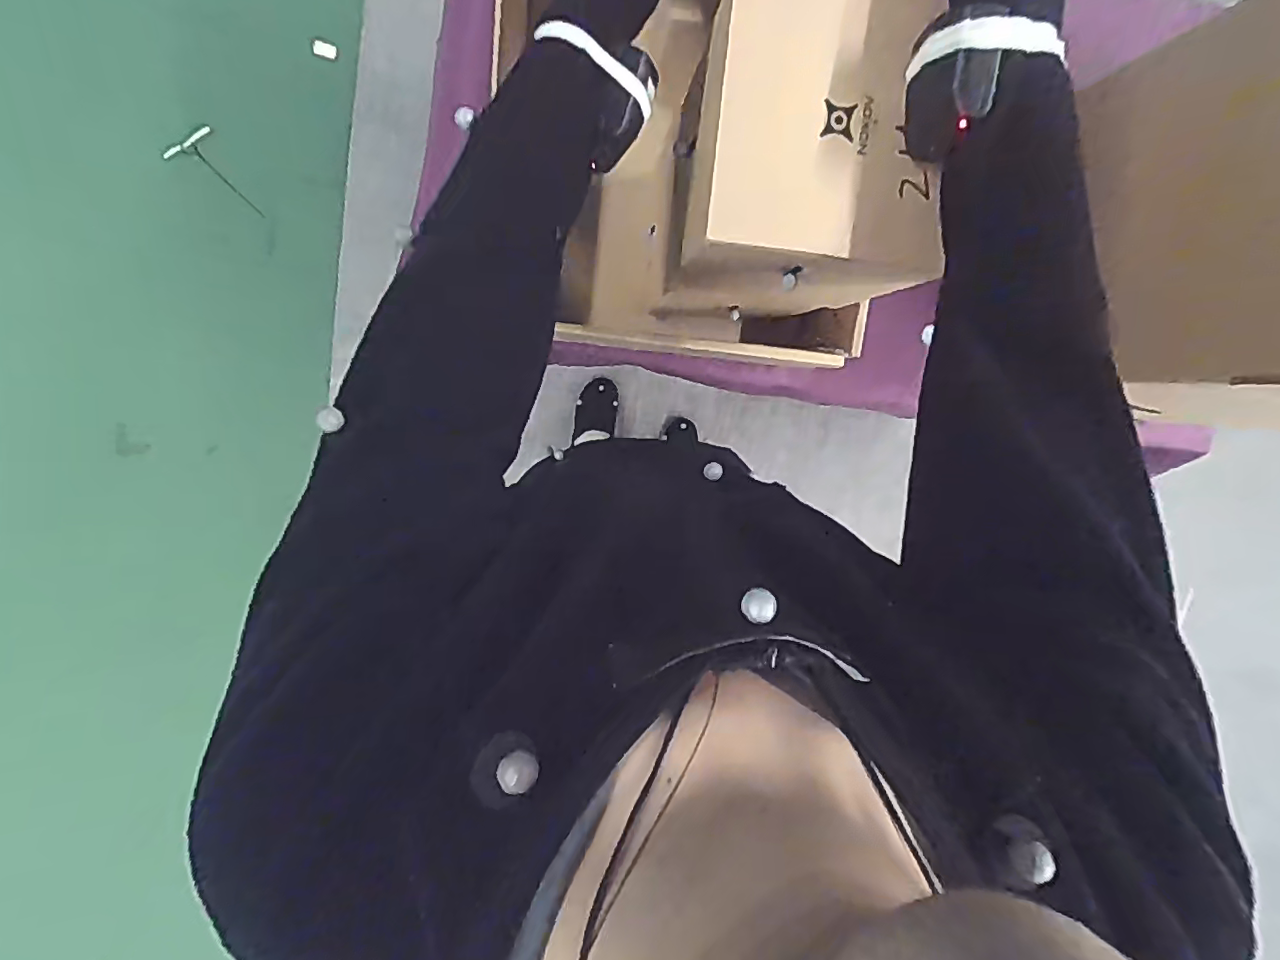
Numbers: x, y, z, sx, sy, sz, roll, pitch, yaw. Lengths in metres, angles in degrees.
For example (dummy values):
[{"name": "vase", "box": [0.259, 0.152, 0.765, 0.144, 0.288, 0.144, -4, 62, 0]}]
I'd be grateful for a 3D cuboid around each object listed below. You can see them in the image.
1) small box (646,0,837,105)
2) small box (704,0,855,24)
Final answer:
[{"name": "small box", "box": [0.098, -0.515, 0.547, 0.168, 0.176, 0.179, 2, 102, -6]}, {"name": "small box", "box": [0.119, -0.485, 0.387, 0.168, 0.176, 0.179, 5, 103, -6]}]
